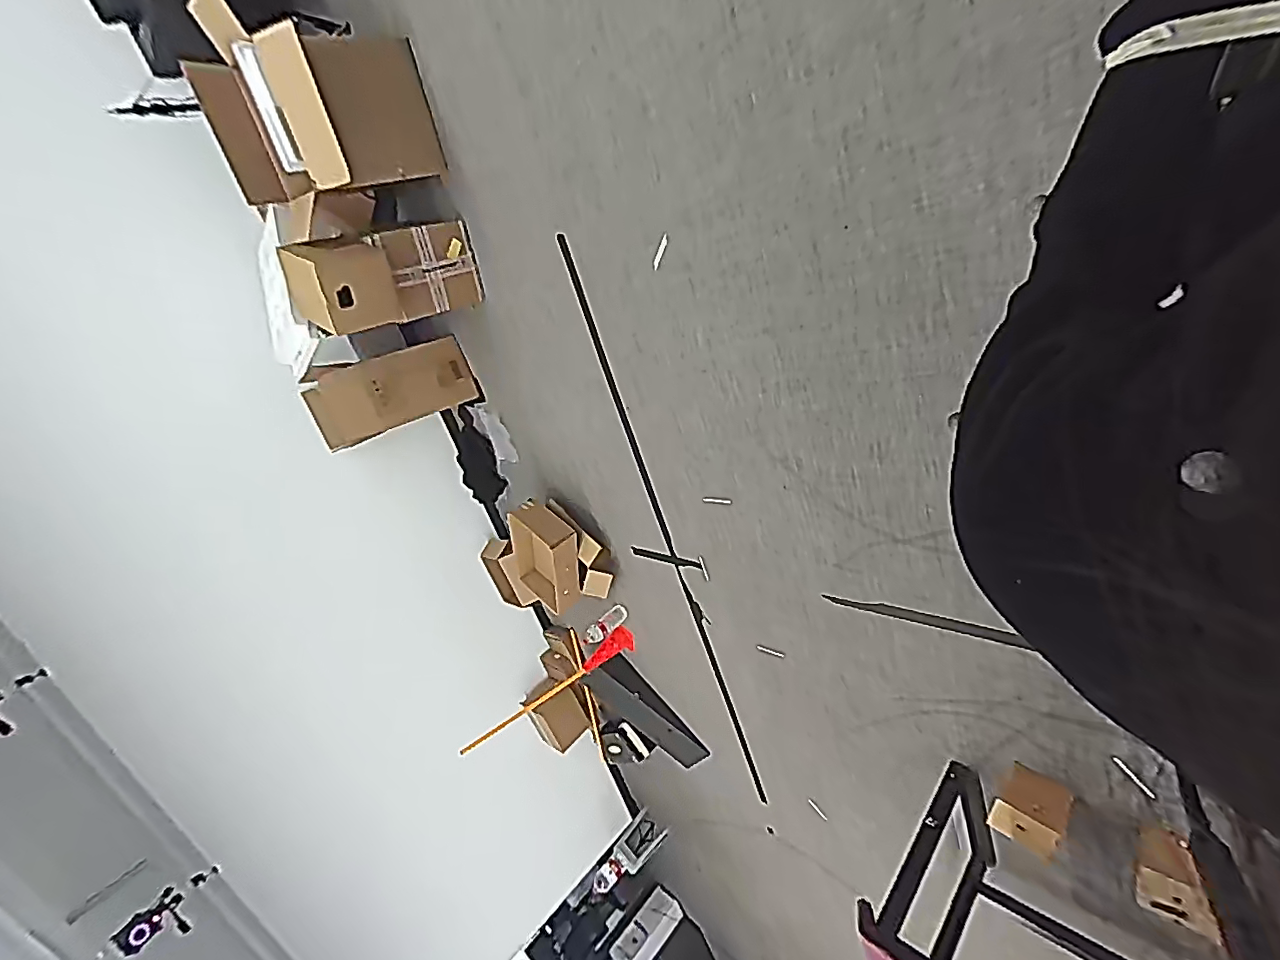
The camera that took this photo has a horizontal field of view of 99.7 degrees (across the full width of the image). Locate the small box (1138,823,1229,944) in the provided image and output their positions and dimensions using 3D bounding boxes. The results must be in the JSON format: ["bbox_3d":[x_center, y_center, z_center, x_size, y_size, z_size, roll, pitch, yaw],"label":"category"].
[{"bbox_3d":[1.526,1.122,1.517,0.168,0.176,0.179,3,118,50],"label":"small box"}]

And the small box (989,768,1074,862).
[{"bbox_3d":[1.291,1.092,1.784,0.179,0.176,0.168,22,132,38],"label":"small box"}]
